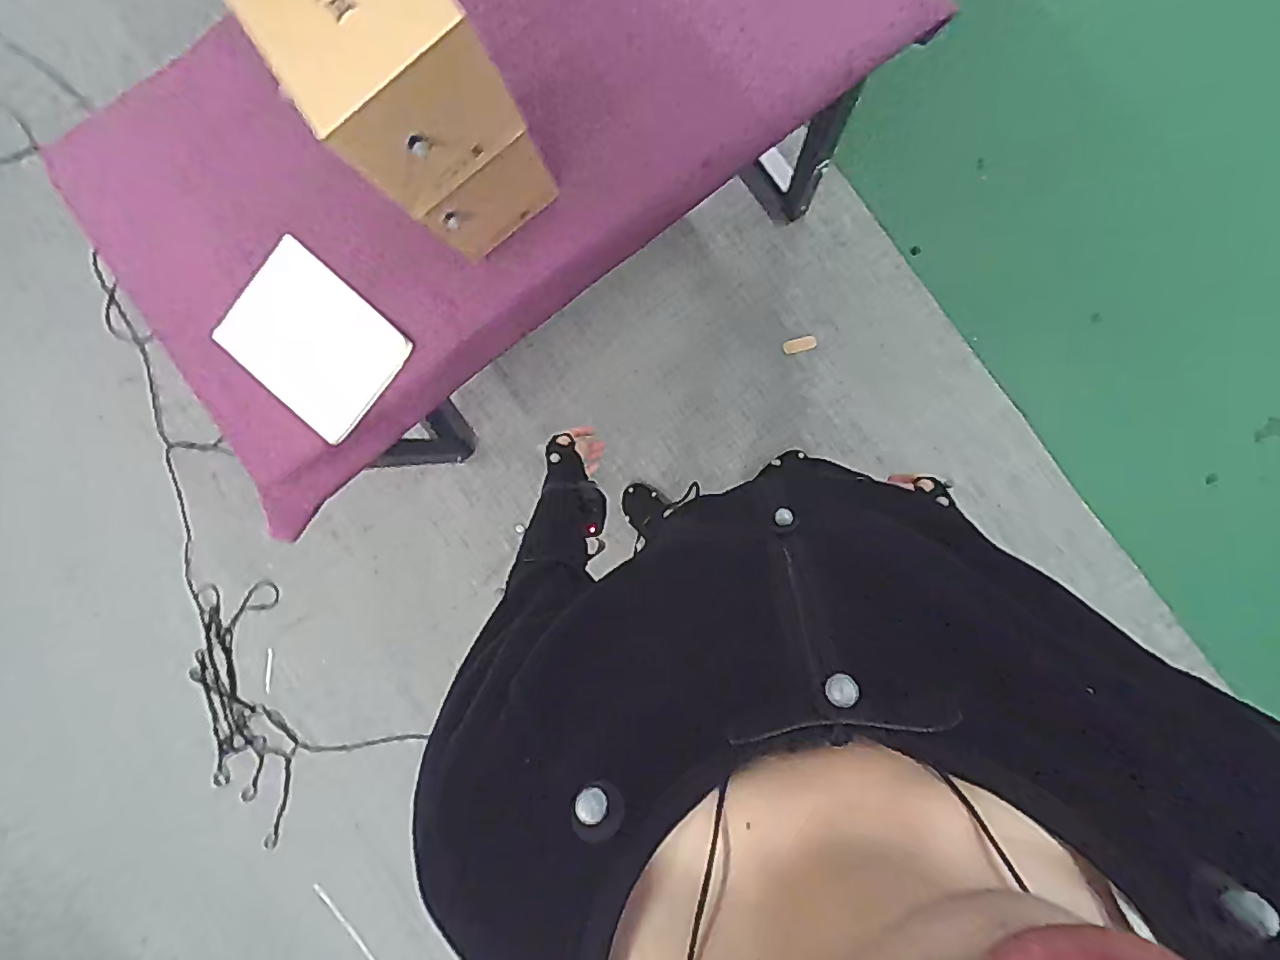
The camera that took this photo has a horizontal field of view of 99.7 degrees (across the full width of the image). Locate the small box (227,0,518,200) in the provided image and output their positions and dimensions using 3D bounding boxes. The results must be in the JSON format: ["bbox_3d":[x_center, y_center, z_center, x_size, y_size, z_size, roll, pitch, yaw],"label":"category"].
[{"bbox_3d":[-0.253,-0.420,0.549,0.168,0.176,0.179,-35,88,7],"label":"small box"}]
